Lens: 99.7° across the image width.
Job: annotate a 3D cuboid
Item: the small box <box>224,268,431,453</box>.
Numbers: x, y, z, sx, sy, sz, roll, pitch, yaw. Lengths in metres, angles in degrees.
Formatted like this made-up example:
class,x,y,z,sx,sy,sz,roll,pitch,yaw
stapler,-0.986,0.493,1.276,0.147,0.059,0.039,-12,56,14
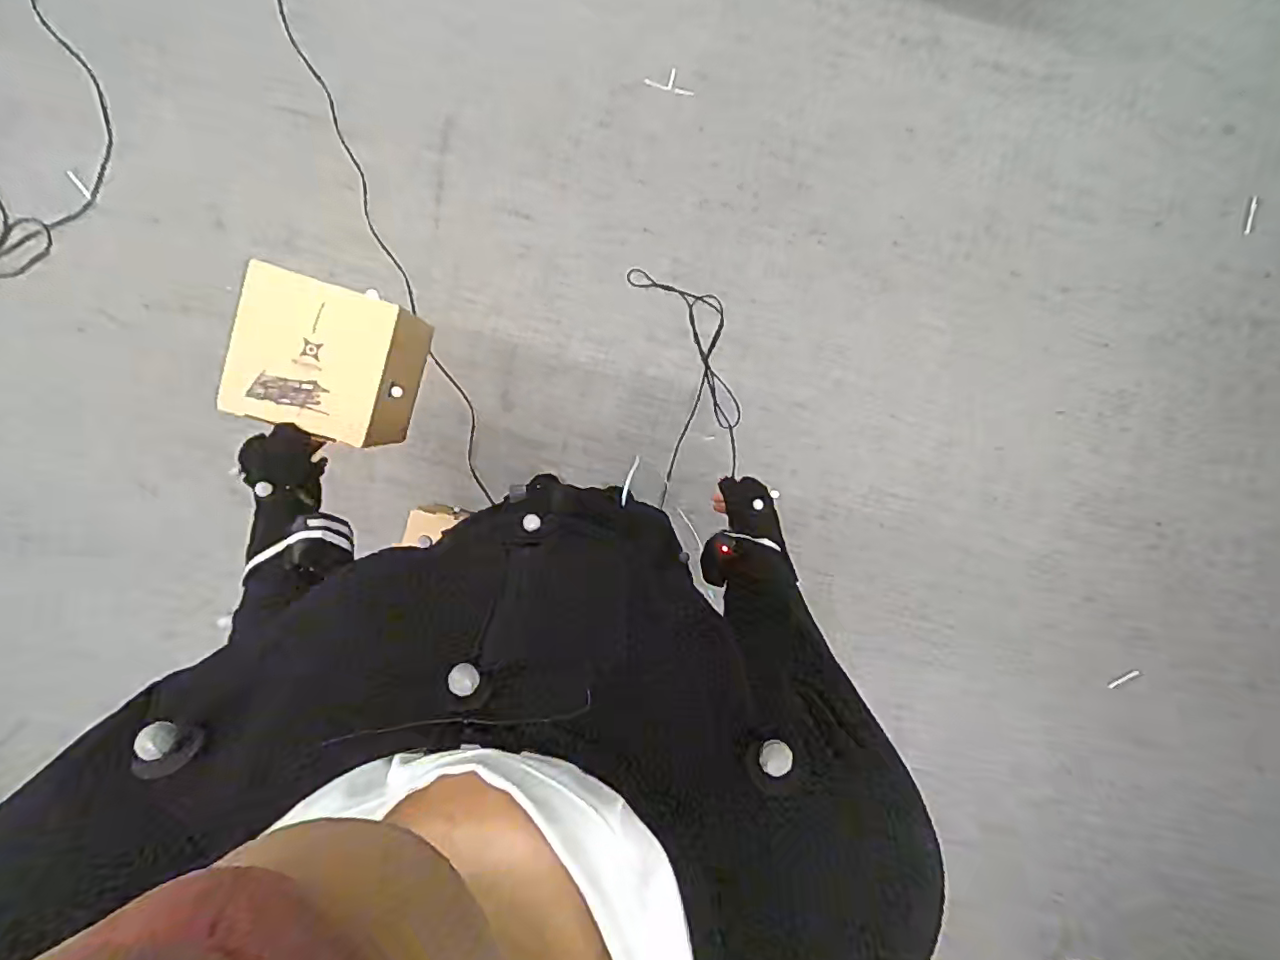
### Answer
class,x,y,z,sx,sy,sz,roll,pitch,yaw
small box,-0.392,-0.146,0.710,0.168,0.176,0.179,16,94,-10

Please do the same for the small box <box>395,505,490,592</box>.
class,x,y,z,sx,sy,sz,roll,pitch,yaw
small box,-0.497,0.168,1.389,0.168,0.176,0.179,17,89,-4
